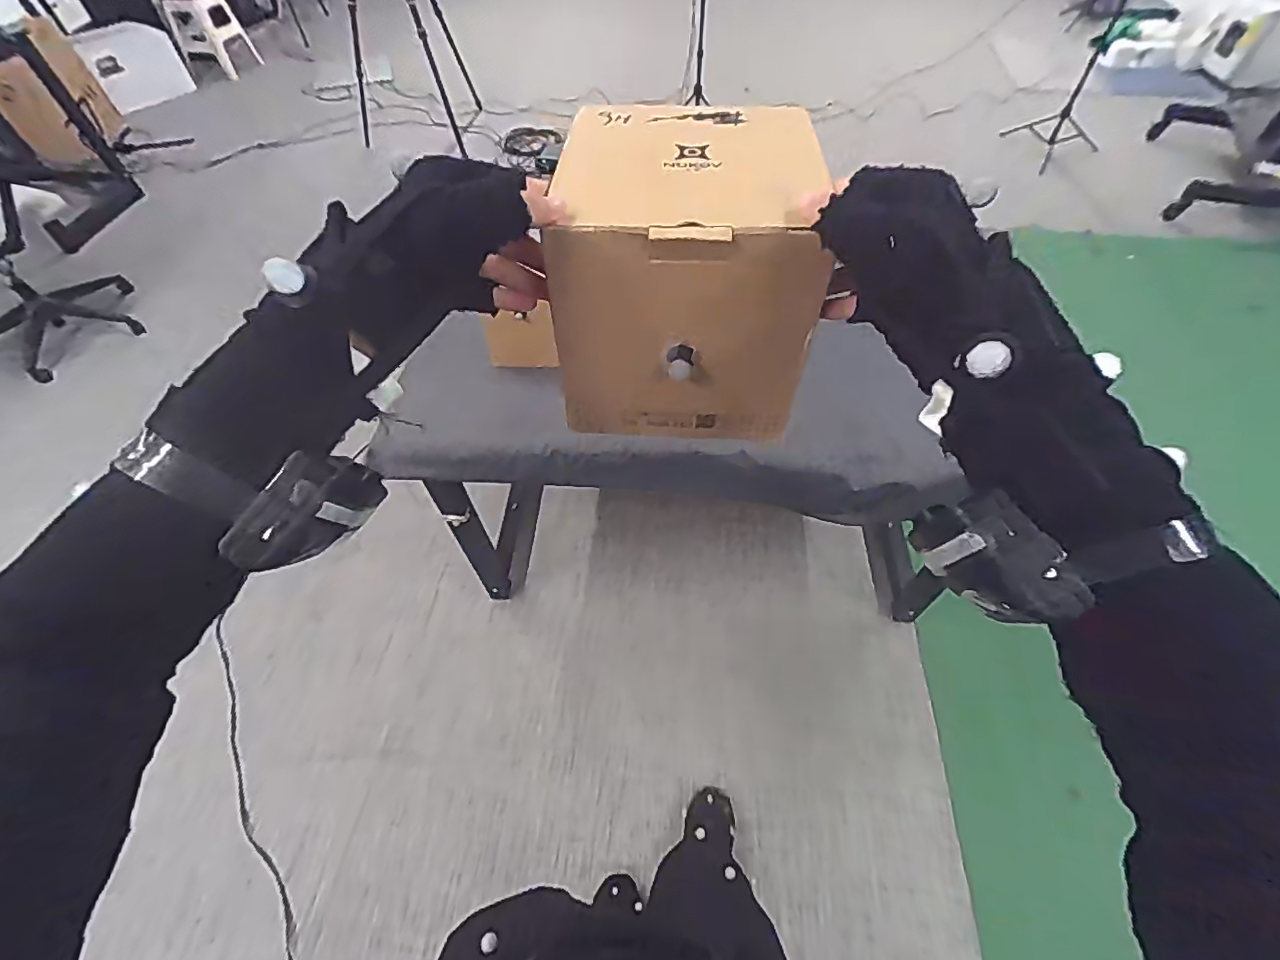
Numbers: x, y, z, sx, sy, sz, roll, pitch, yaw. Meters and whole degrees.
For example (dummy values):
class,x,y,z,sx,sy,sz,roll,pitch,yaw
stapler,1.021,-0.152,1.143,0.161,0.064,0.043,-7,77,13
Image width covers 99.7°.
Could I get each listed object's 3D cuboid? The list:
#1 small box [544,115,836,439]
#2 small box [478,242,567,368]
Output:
class,x,y,z,sx,sy,sz,roll,pitch,yaw
small box,0.034,-0.148,0.410,0.168,0.176,0.179,3,53,2
small box,-0.187,-0.330,1.028,0.179,0.176,0.168,2,54,1
